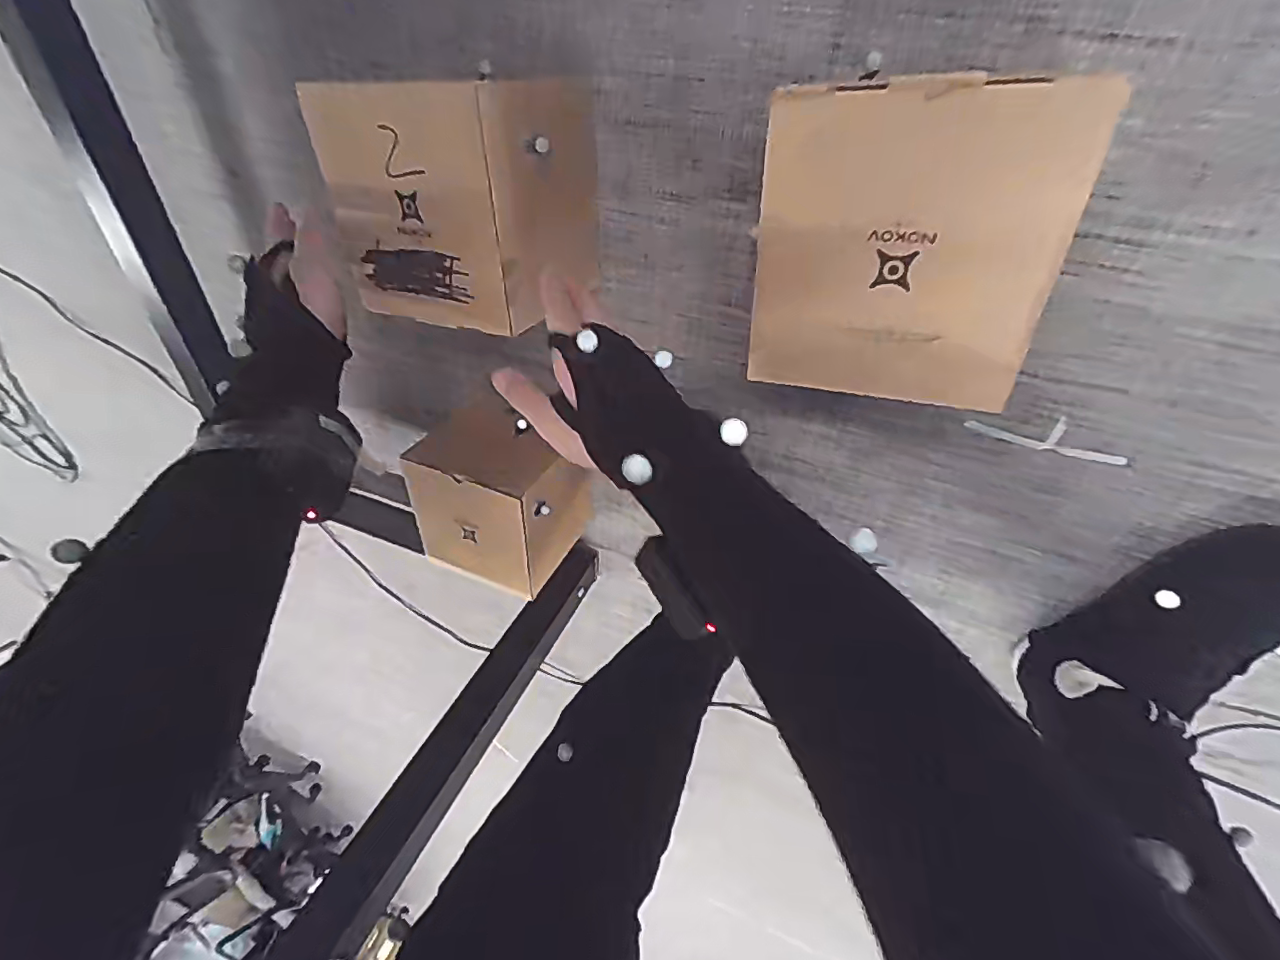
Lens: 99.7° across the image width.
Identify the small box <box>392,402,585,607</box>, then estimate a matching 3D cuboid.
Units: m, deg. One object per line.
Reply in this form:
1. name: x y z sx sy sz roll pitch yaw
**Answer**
1. small box: -0.180 0.025 0.702 0.168 0.176 0.179 16 129 17
